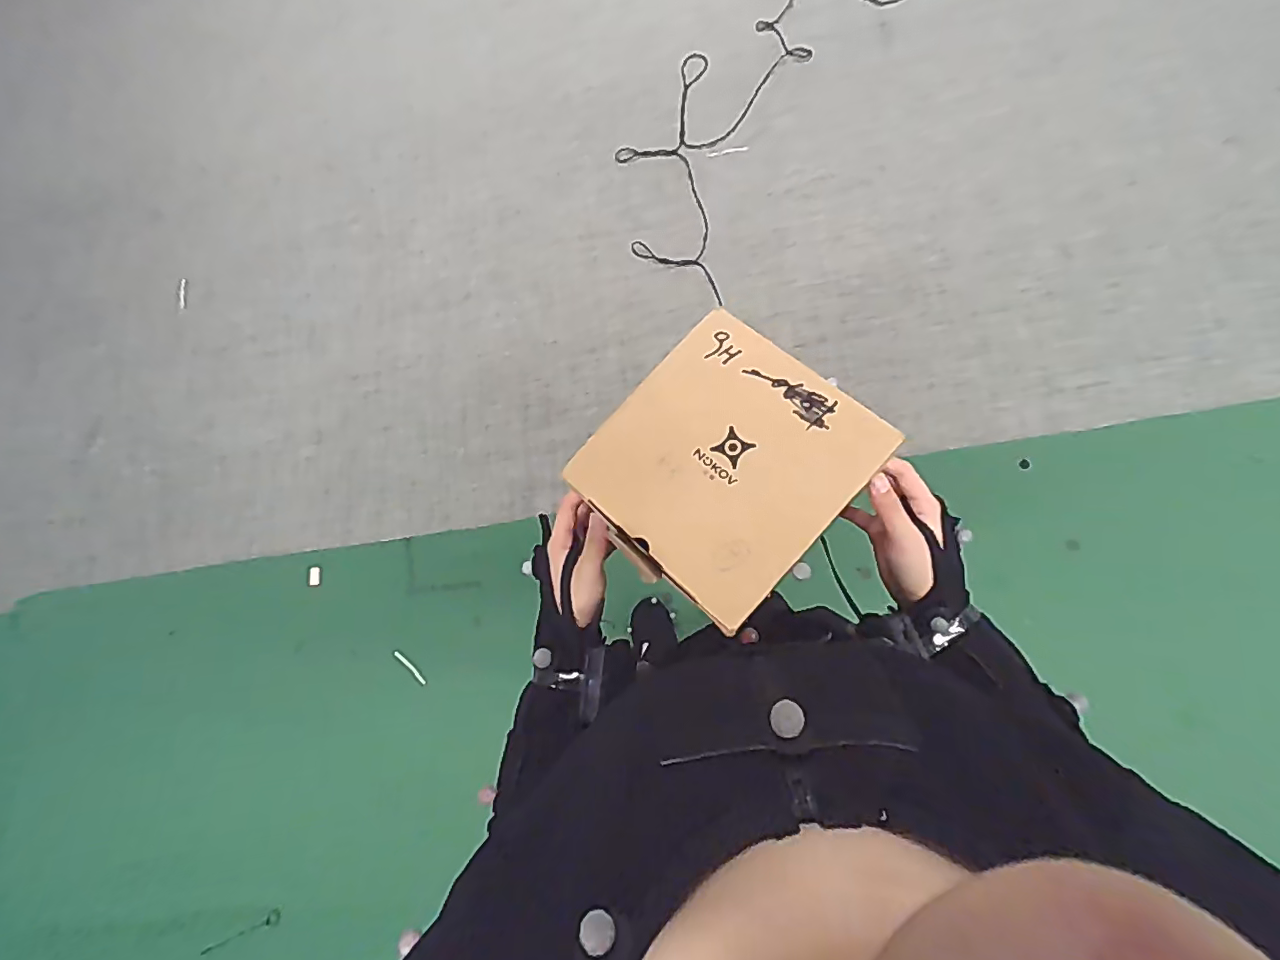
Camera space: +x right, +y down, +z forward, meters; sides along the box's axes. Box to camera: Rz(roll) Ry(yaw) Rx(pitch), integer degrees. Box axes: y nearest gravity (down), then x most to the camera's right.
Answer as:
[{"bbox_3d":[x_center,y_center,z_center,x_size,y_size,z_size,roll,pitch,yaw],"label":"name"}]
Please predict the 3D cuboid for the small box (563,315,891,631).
[{"bbox_3d":[0.072,0.007,0.455,0.168,0.176,0.179,41,86,18],"label":"small box"}]
